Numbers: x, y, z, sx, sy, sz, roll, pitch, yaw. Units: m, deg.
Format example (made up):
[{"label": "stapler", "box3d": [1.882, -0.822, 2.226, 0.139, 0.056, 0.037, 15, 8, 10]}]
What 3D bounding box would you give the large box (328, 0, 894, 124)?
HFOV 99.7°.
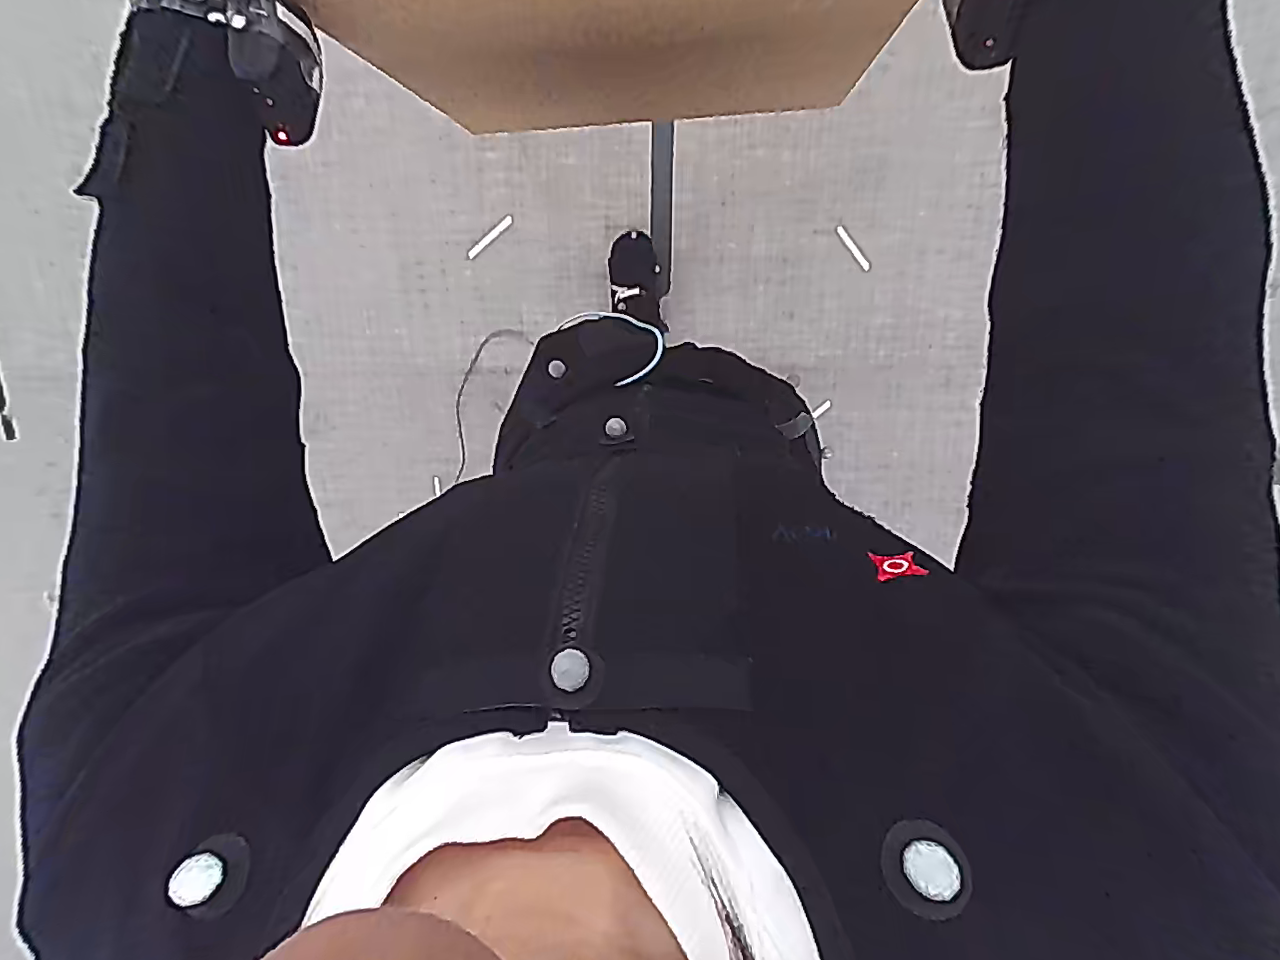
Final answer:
[{"label": "large box", "box3d": [-0.011, -0.500, 0.400, 0.408, 0.320, 0.320, -1, 110, 6]}]
